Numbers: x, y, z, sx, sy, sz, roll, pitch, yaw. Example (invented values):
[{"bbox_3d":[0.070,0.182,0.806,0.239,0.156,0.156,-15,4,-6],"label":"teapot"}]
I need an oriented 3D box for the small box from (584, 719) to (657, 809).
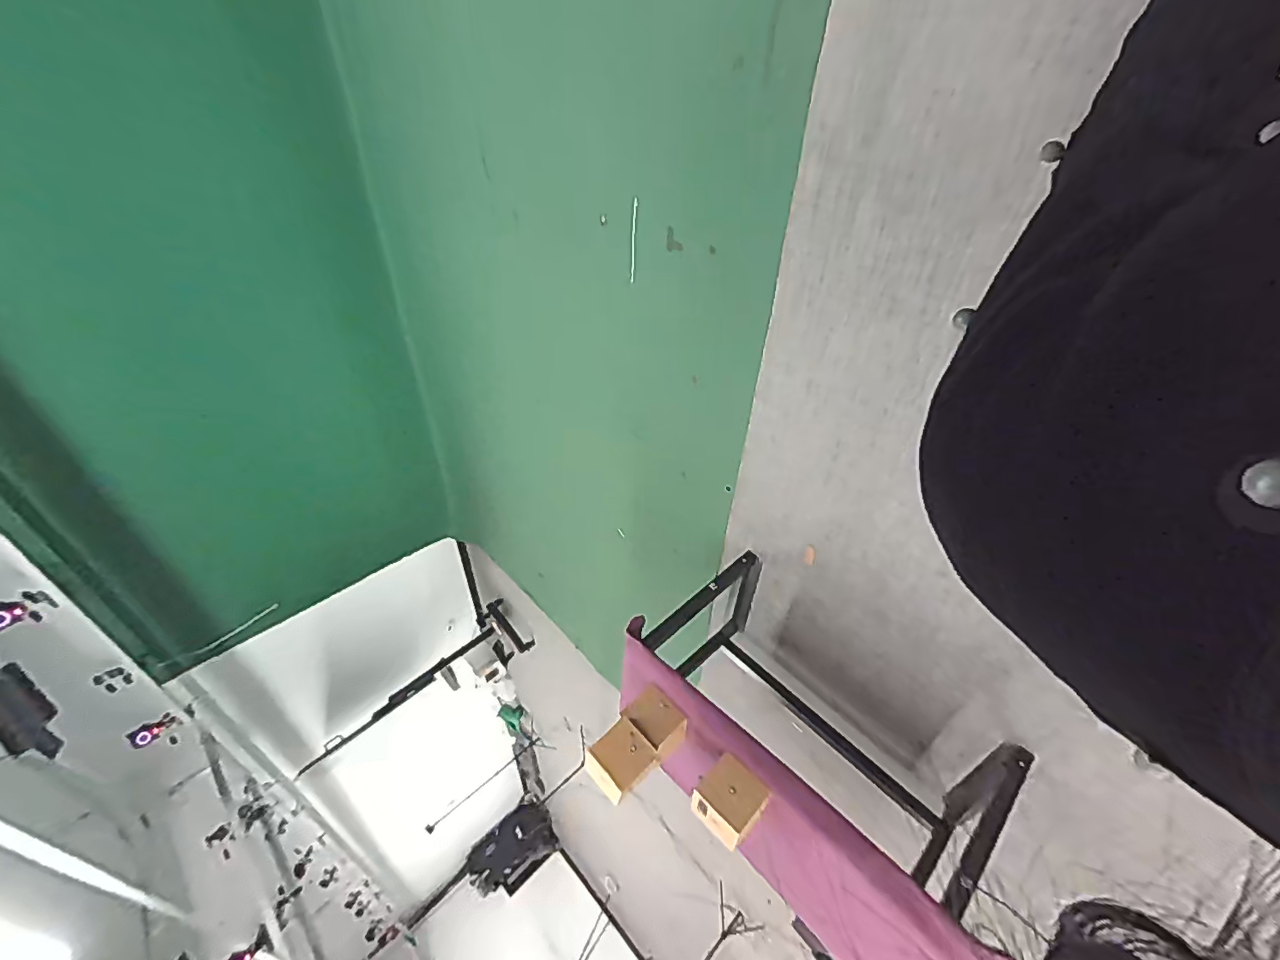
[{"bbox_3d":[-0.063,0.924,1.764,0.168,0.176,0.179,41,142,26],"label":"small box"}]

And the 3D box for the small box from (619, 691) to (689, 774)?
[{"bbox_3d":[0.045,0.864,1.873,0.179,0.176,0.168,36,141,33],"label":"small box"}]
